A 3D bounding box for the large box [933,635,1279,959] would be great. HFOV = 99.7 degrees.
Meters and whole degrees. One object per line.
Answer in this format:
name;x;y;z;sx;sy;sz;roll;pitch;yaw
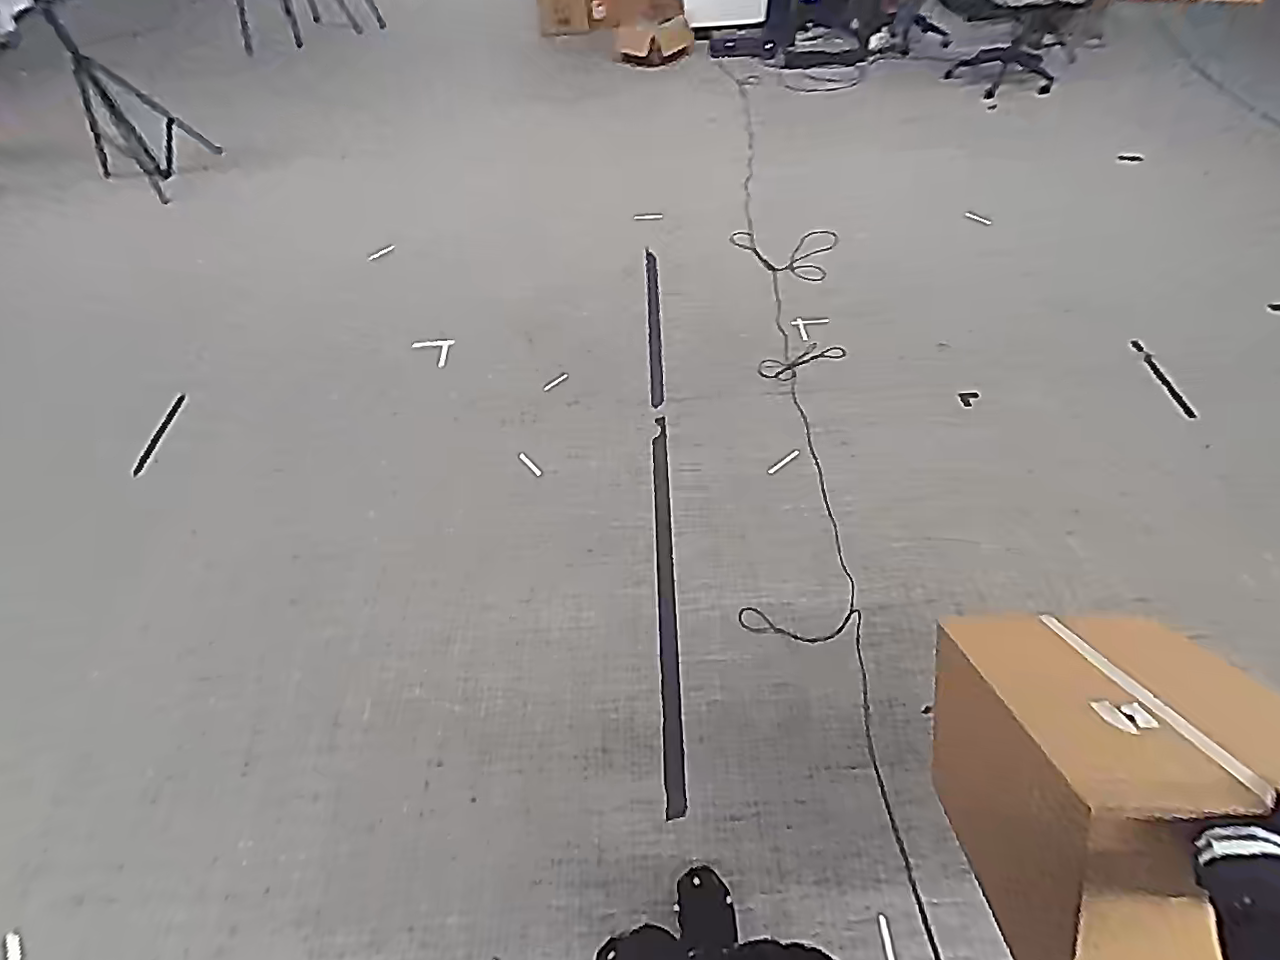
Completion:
large box;0.619;0.440;0.695;0.320;0.320;0.408;-1;12;10
